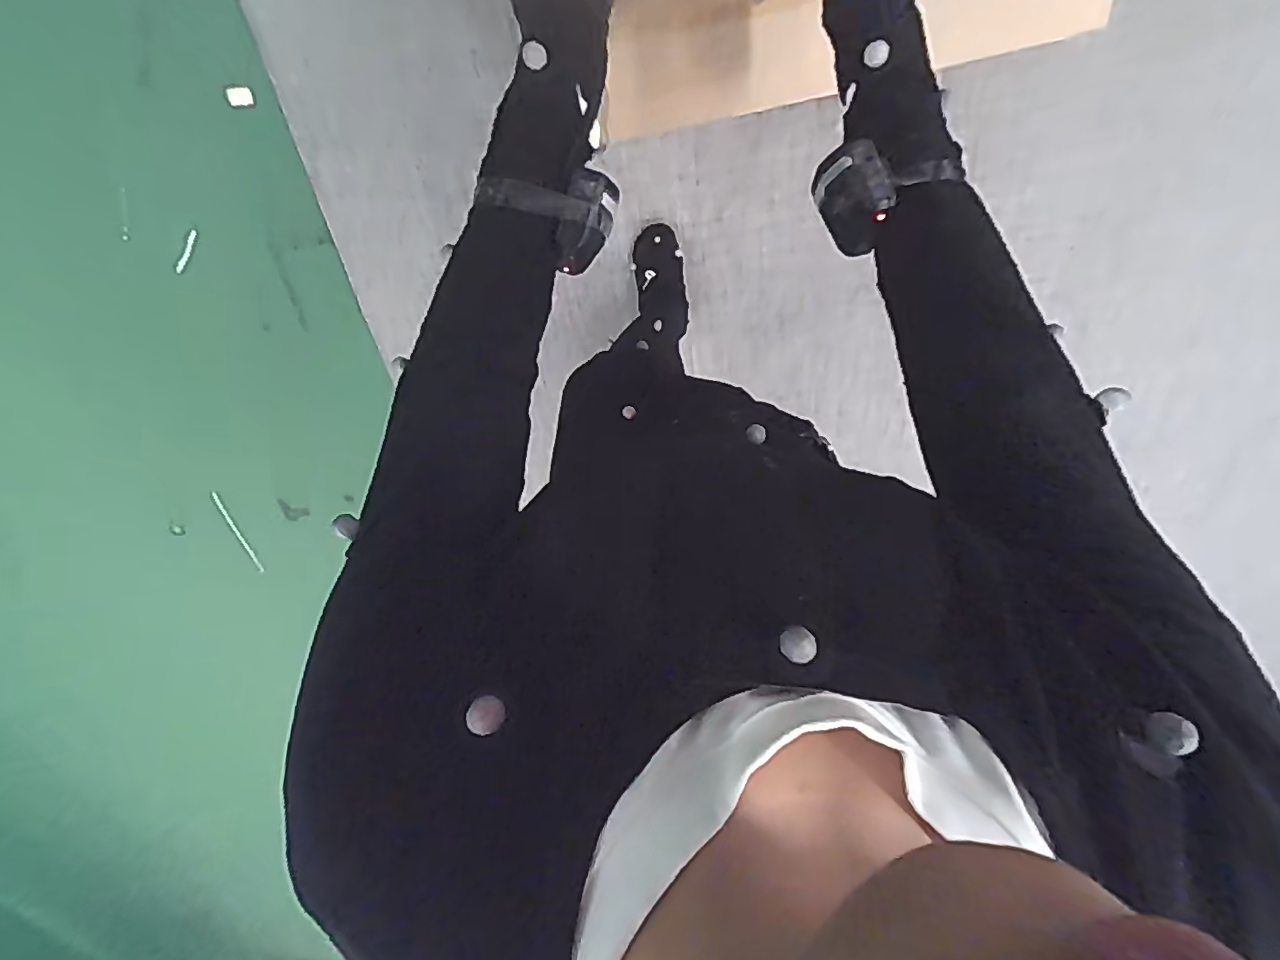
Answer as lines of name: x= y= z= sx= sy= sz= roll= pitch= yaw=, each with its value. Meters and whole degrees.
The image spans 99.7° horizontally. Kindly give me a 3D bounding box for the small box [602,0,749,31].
small box: x=0.042 y=-0.494 z=0.436 sx=0.179 sy=0.176 sz=0.168 roll=-9 pitch=122 yaw=8
